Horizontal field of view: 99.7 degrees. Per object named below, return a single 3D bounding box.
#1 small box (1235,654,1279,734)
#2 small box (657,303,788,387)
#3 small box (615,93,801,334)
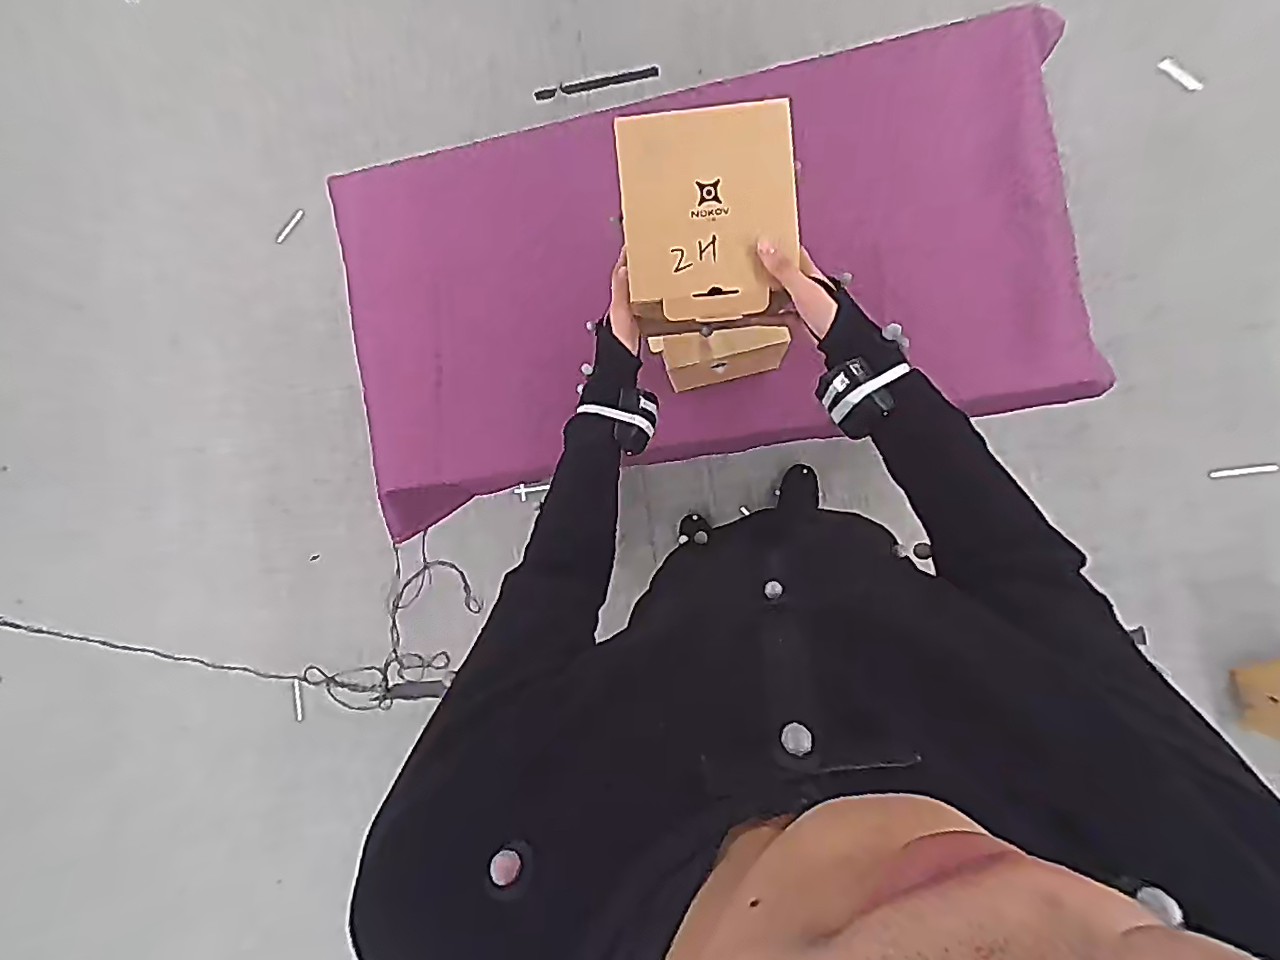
[{"bbox_3d":[1.644,0.538,1.335,0.179,0.176,0.168,-12,88,7],"label":"small box"},{"bbox_3d":[0.114,-0.251,0.827,0.179,0.176,0.168,-12,87,7],"label":"small box"},{"bbox_3d":[0.065,-0.267,0.581,0.168,0.176,0.179,-5,94,3],"label":"small box"}]
